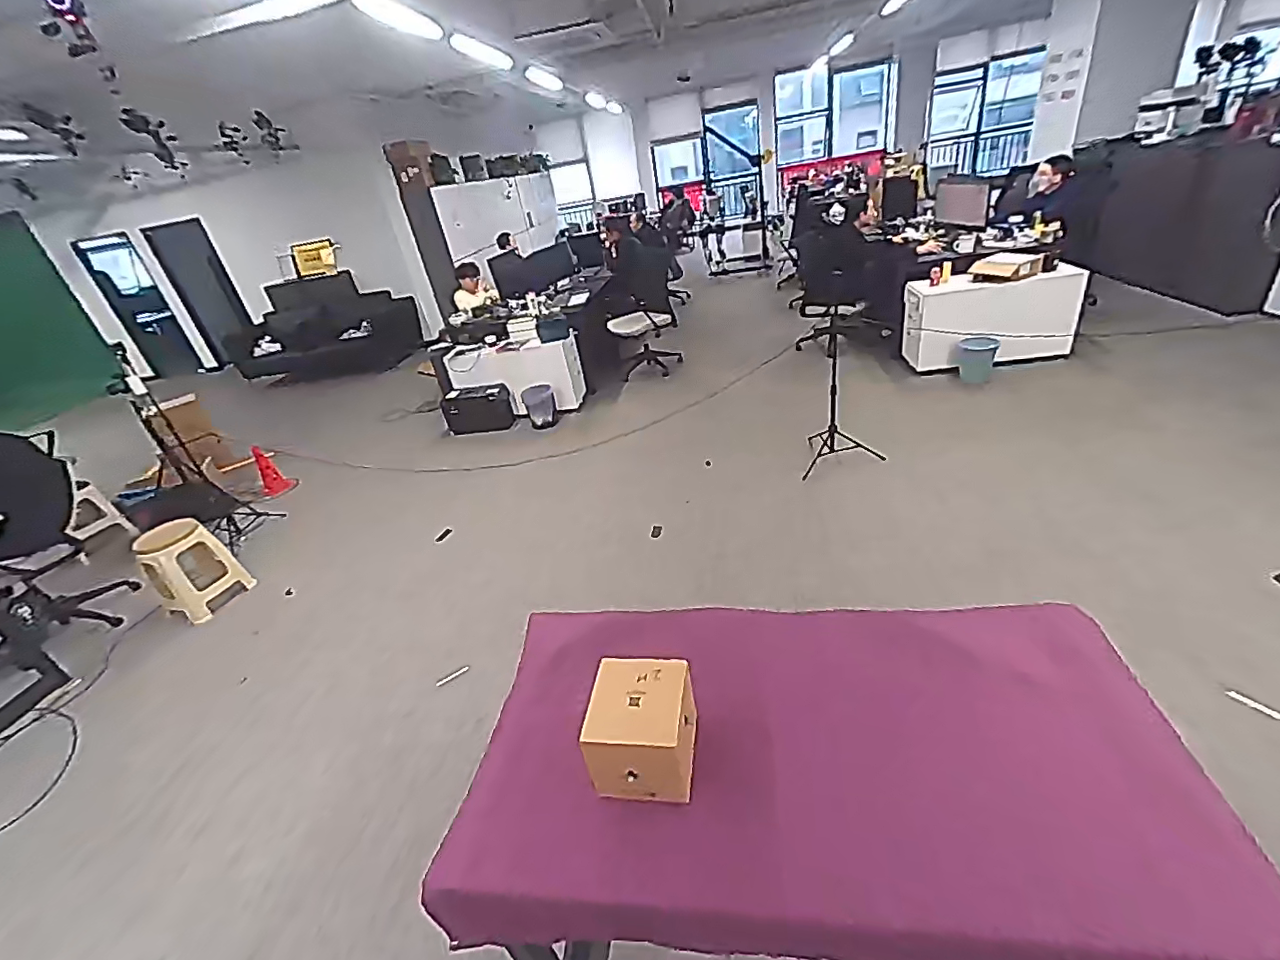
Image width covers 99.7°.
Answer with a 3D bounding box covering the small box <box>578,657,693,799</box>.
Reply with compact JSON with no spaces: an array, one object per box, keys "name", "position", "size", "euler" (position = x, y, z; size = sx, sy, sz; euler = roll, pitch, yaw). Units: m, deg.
[{"name":"small box","position":[0.003,0.451,0.988],"size":[0.168,0.176,0.179],"euler":[-2,31,13]}]
